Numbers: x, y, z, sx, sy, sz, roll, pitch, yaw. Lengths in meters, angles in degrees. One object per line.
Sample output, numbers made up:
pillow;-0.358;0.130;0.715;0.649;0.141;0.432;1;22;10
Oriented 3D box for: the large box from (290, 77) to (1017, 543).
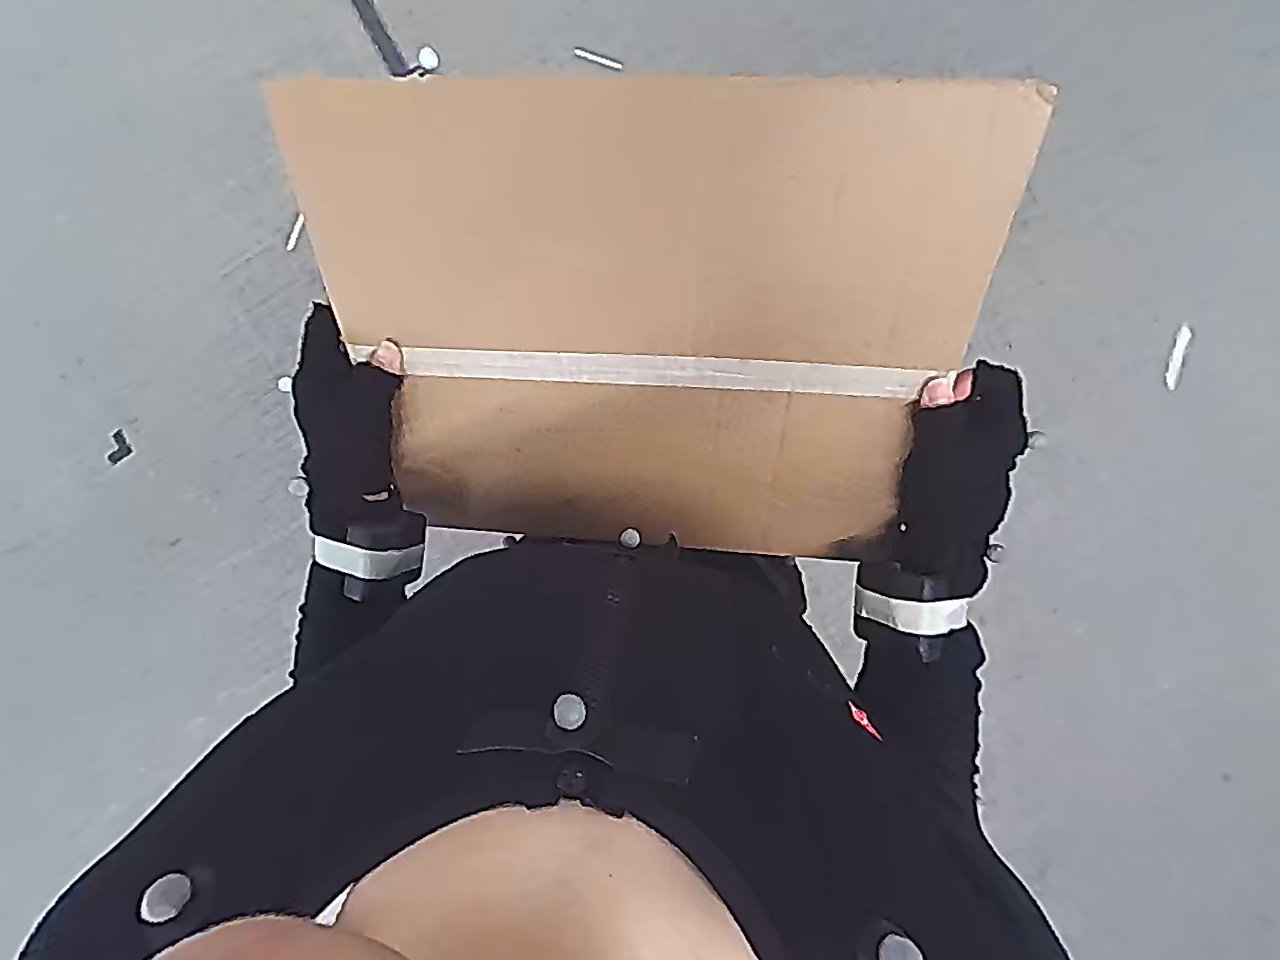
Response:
large box;0.011;-0.166;0.495;0.408;0.320;0.320;3;127;6
